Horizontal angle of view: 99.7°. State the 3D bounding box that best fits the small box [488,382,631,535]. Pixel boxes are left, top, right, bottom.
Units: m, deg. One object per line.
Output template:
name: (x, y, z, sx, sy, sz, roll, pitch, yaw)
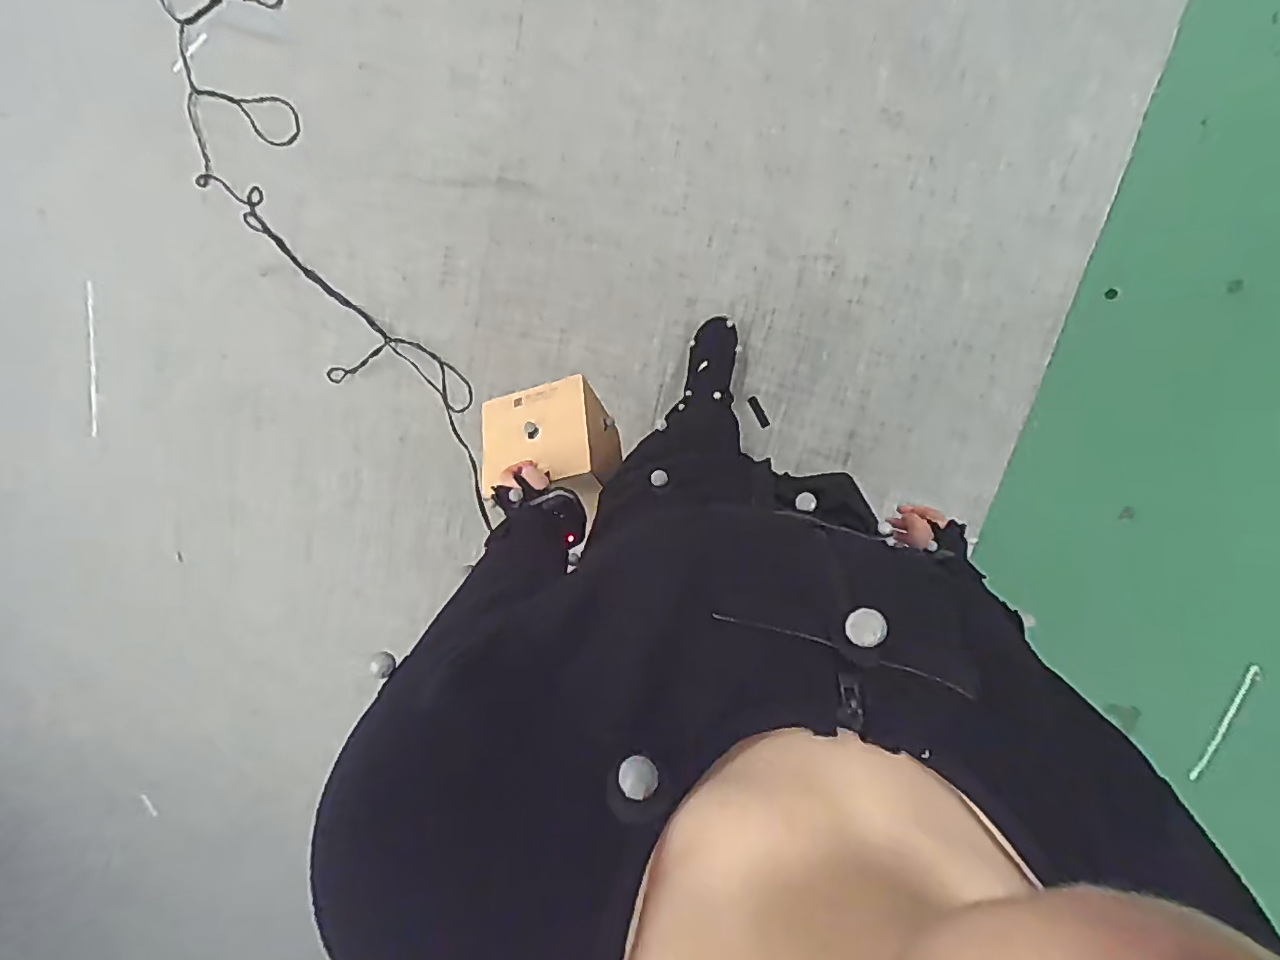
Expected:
small box: (-0.124, -0.035, 0.844, 0.168, 0.179, 0.176, -14, 63, 11)
